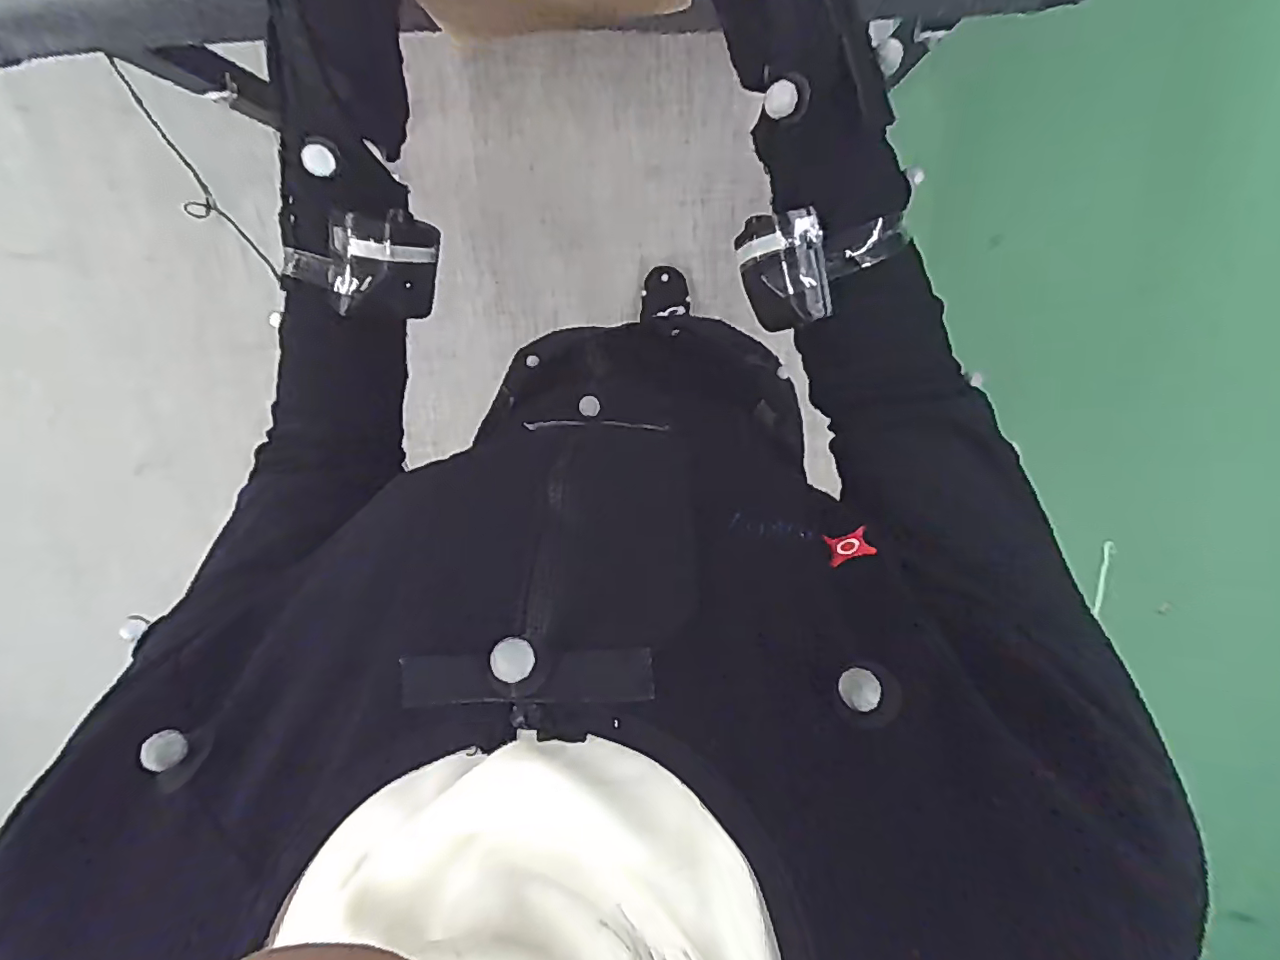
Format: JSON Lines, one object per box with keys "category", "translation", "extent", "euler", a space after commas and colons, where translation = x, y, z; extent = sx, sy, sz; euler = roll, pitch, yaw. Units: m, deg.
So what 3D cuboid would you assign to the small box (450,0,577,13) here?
{"category": "small box", "translation": [-0.065, -0.395, 0.289], "extent": [0.179, 0.176, 0.168], "euler": [-4, 108, 6]}
